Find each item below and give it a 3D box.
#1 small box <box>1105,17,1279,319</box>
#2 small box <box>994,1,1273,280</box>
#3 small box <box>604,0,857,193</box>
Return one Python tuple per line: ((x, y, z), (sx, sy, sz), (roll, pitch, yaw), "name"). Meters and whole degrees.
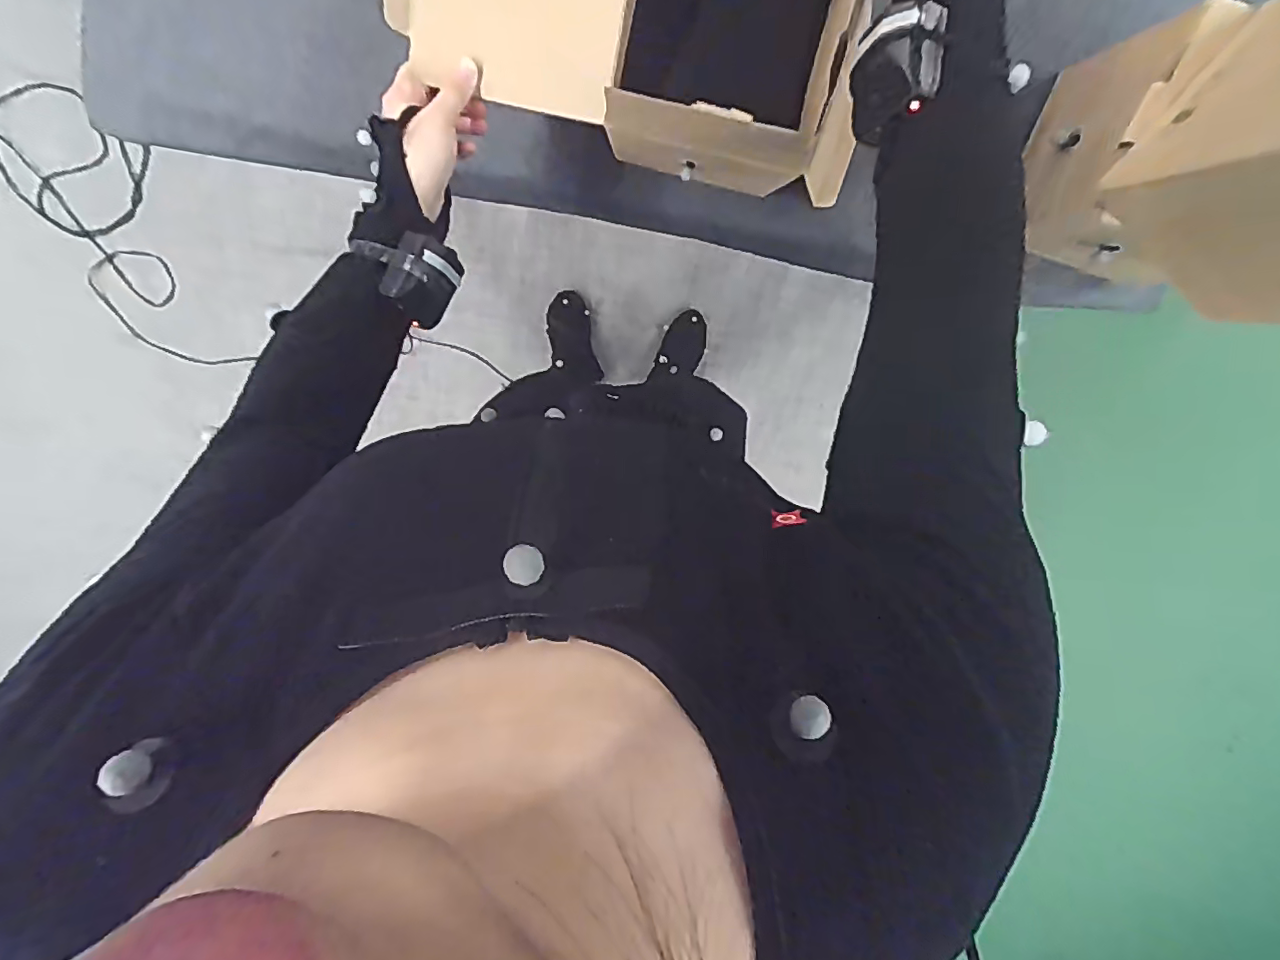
((0.493, -0.223, 0.372), (0.179, 0.176, 0.168), (36, 106, -13), "small box")
((0.495, -0.297, 0.519), (0.179, 0.176, 0.168), (16, 110, -5), "small box")
((0.074, -0.378, 0.500), (0.179, 0.176, 0.168), (13, 112, -3), "small box")
